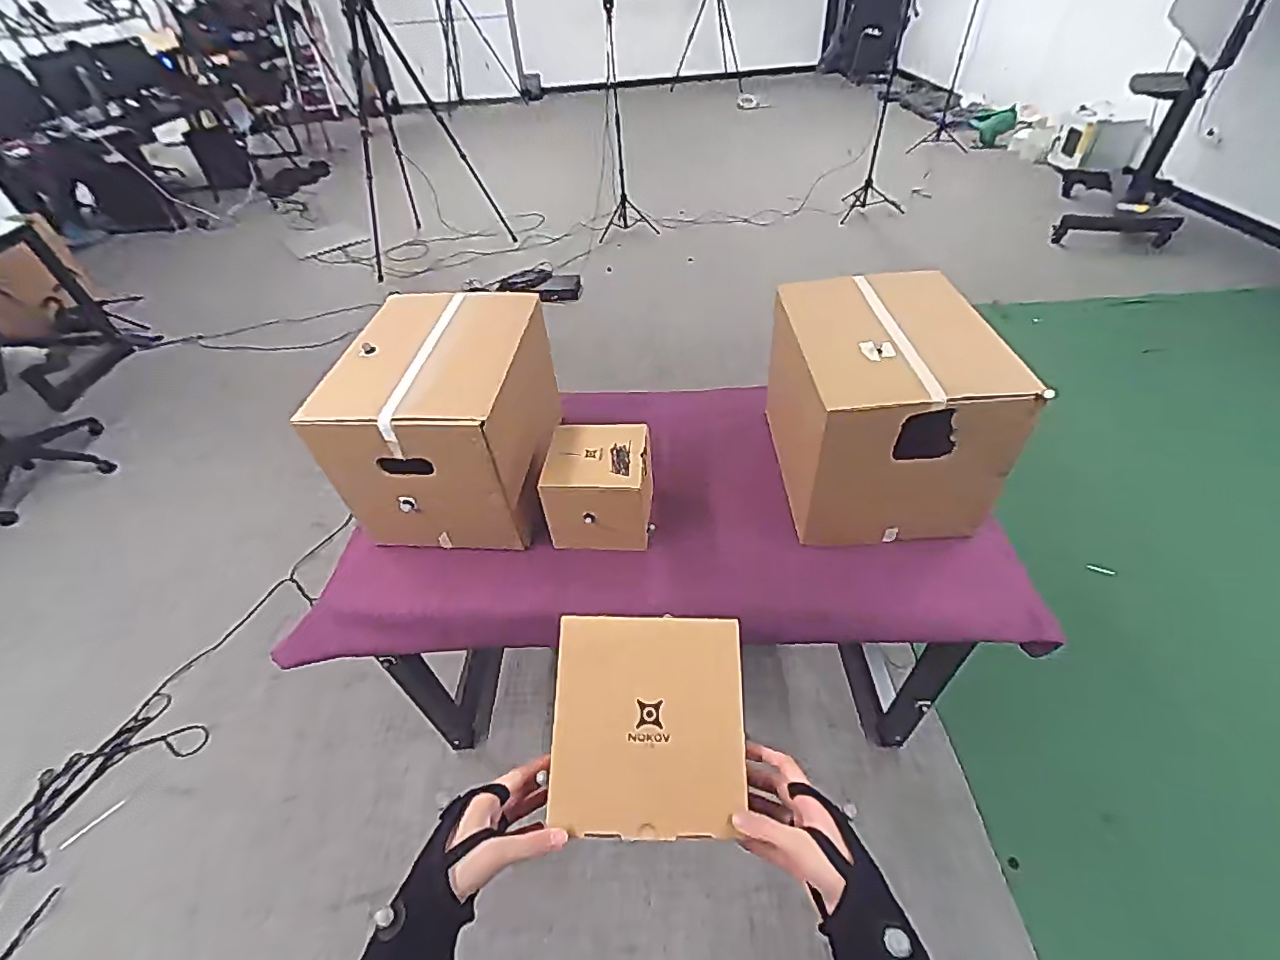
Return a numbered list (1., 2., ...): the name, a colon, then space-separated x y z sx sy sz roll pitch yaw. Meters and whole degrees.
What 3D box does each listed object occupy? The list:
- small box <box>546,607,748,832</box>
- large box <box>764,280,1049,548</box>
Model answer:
1. small box: 0.004 0.232 0.538 0.168 0.176 0.179 2 67 -1
2. large box: 0.429 -0.130 1.006 0.320 0.320 0.408 -4 45 4
